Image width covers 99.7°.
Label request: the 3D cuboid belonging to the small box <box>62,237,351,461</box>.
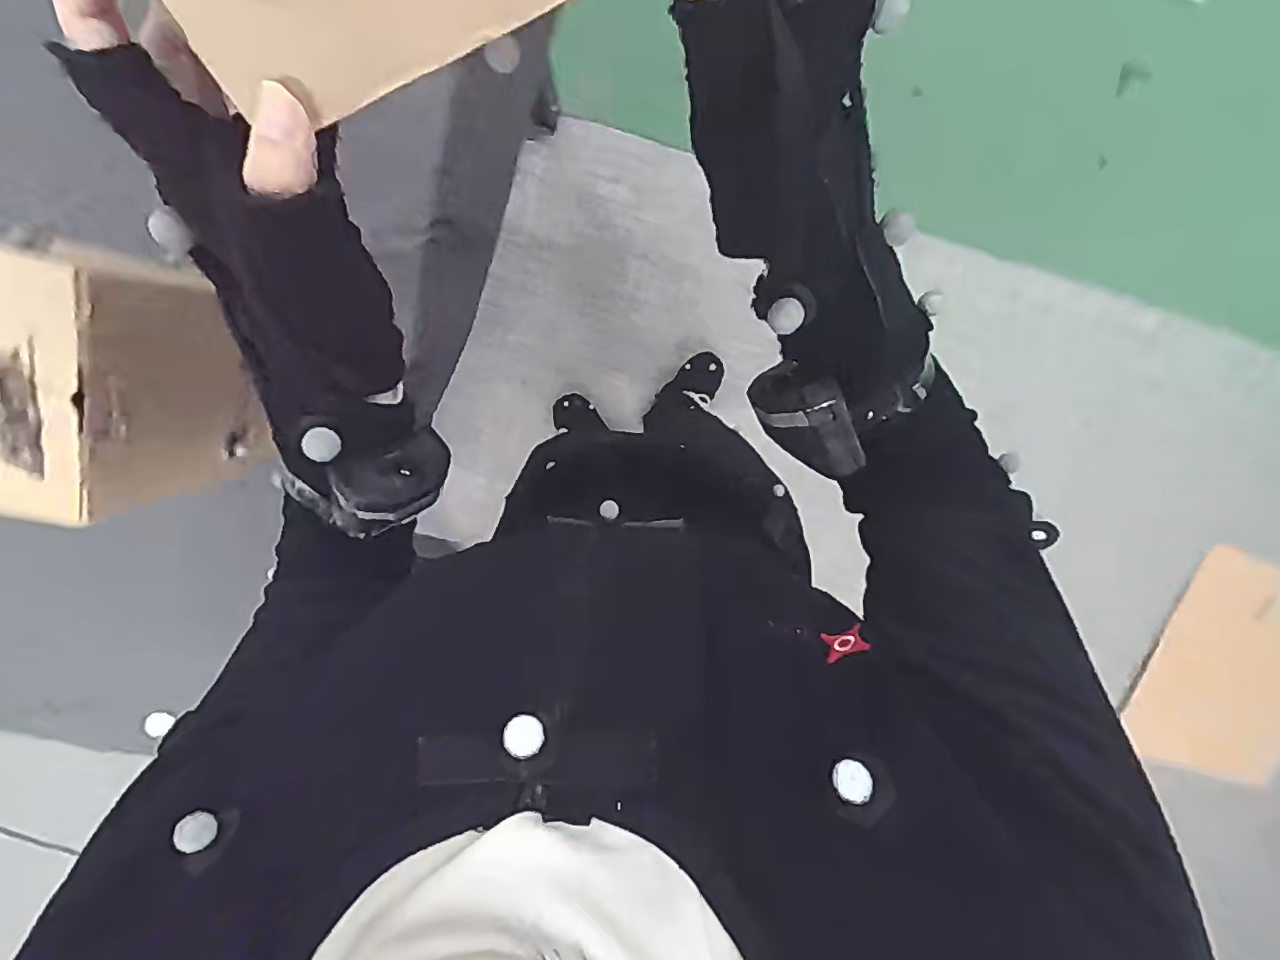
[{"bbox_3d":[-0.443,-0.132,0.571,0.179,0.176,0.168,14,103,-6],"label":"small box"}]

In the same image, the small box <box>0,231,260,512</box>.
[{"bbox_3d":[-0.430,-0.090,0.412,0.179,0.176,0.168,11,103,-3],"label":"small box"}]
